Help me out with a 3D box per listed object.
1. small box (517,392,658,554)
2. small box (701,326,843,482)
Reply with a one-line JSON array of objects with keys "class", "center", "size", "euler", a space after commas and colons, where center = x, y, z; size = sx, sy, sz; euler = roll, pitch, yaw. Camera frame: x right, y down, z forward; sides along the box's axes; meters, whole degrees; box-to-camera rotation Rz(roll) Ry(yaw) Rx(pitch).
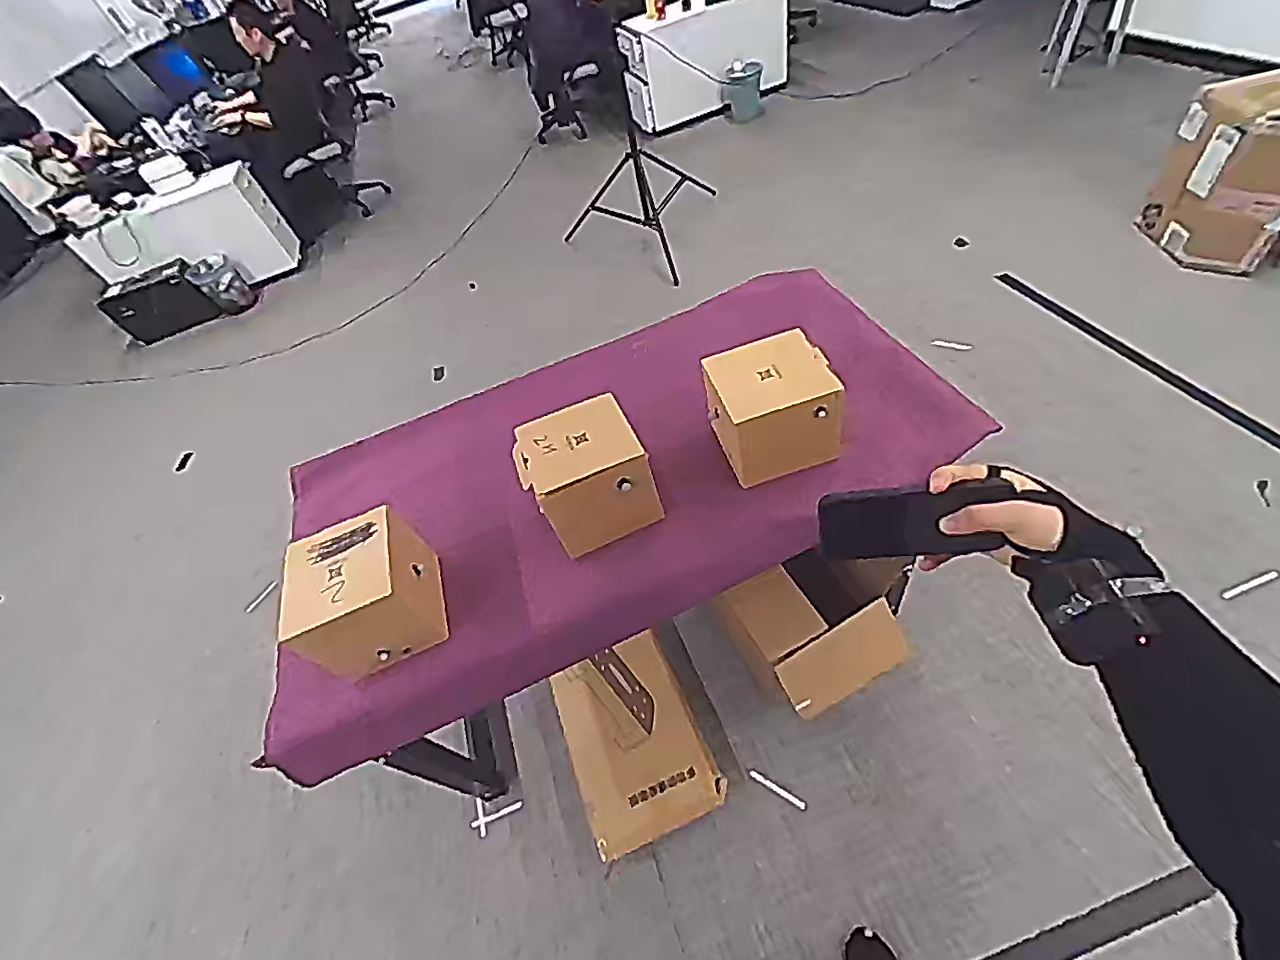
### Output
[{"class": "small box", "center": [-0.080, -0.010, 0.899], "size": [0.179, 0.176, 0.168], "euler": [-24, 48, -4]}, {"class": "small box", "center": [0.219, -0.121, 0.910], "size": [0.179, 0.176, 0.168], "euler": [-18, 50, 0]}]
